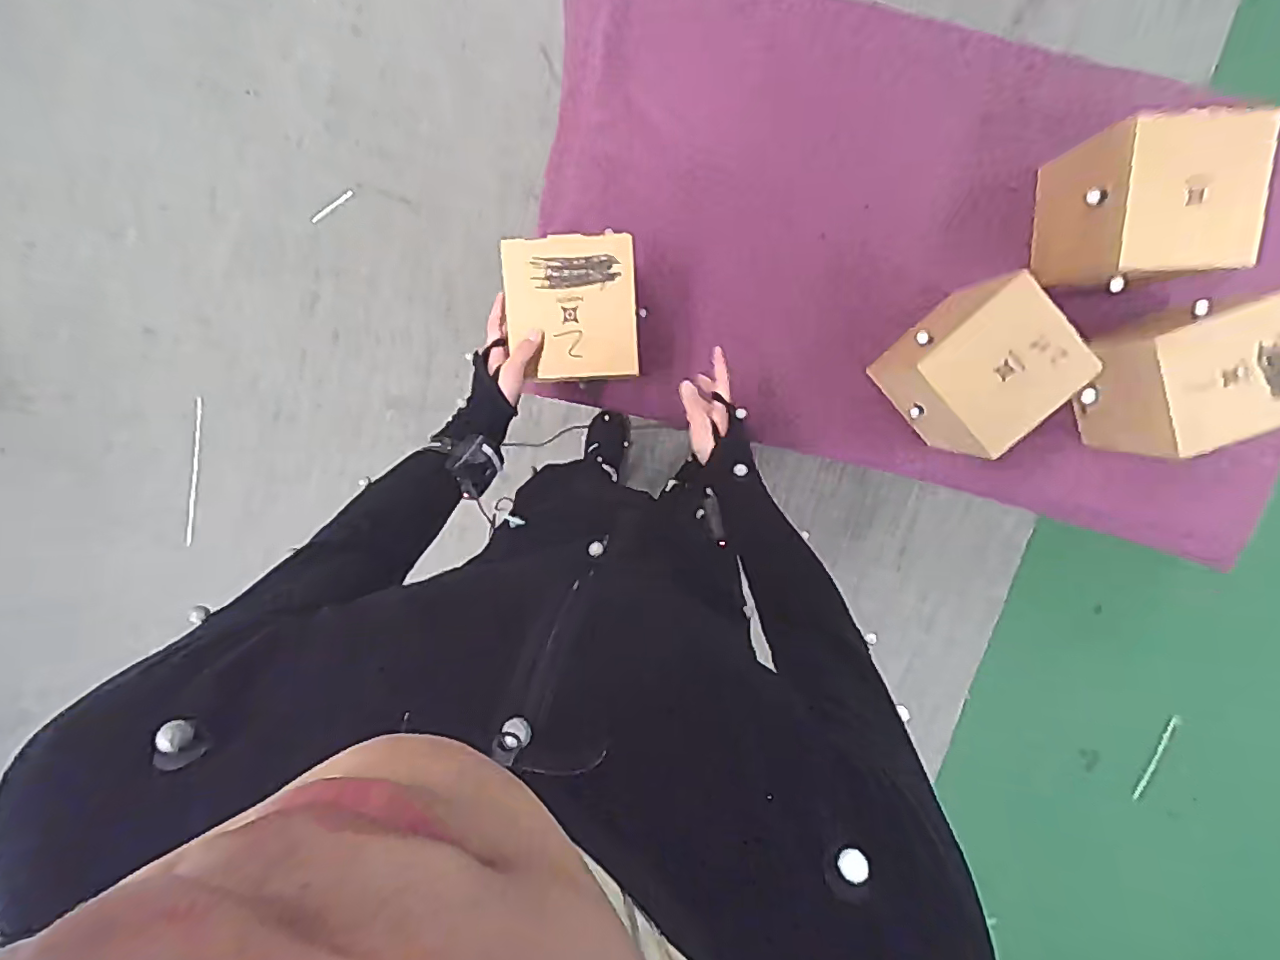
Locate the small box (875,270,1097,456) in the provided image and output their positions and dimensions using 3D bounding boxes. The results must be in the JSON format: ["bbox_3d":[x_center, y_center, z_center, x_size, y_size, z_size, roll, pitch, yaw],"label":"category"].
[{"bbox_3d":[0.462,-0.158,0.761,0.179,0.176,0.168,-43,97,8],"label":"small box"}]

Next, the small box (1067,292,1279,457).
[{"bbox_3d":[0.747,-0.147,0.760,0.179,0.176,0.168,-20,99,6],"label":"small box"}]

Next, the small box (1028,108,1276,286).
[{"bbox_3d":[0.660,-0.361,0.724,0.168,0.176,0.179,-2,101,2],"label":"small box"}]
